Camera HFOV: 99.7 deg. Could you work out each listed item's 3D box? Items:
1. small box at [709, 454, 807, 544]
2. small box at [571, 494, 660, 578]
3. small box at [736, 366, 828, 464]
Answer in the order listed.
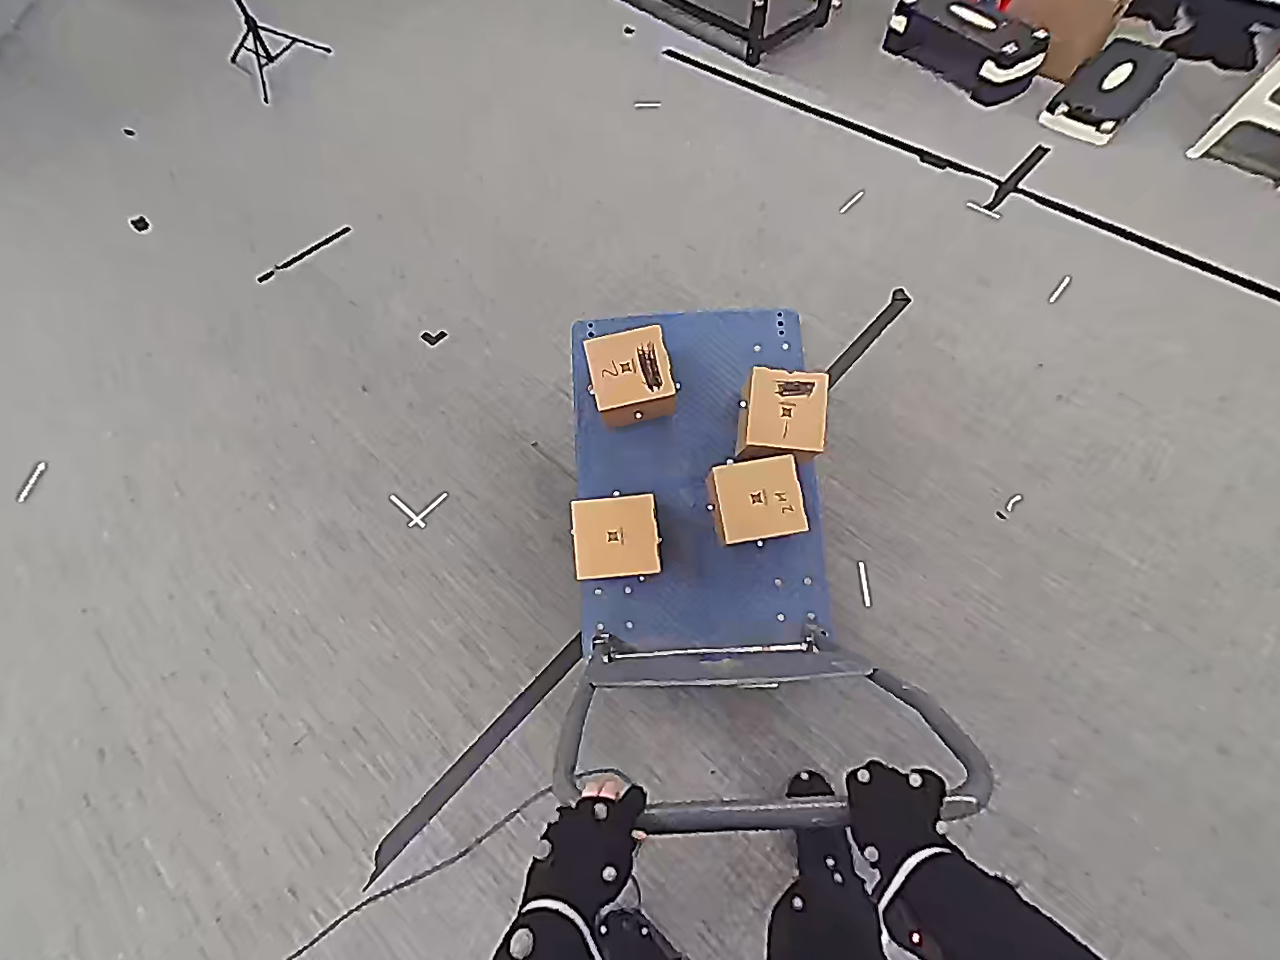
[{"bbox_3d":[0.252,0.049,1.203,0.179,0.176,0.168,-10,82,1],"label":"small box"},{"bbox_3d":[-0.051,0.129,1.201,0.179,0.176,0.168,-6,81,-1],"label":"small box"},{"bbox_3d":[0.316,-0.143,1.230,0.168,0.176,0.179,6,83,3],"label":"small box"}]
